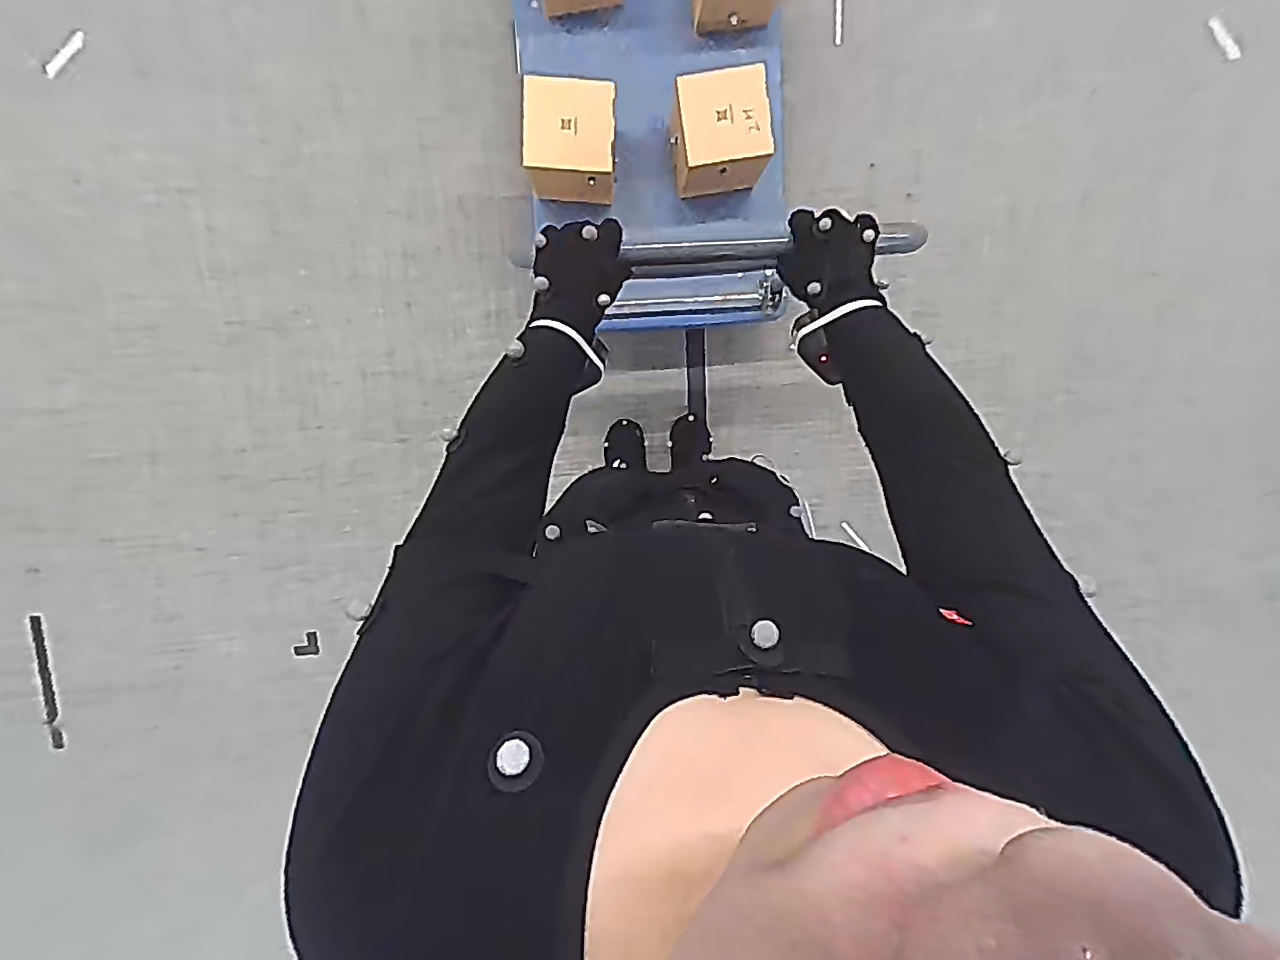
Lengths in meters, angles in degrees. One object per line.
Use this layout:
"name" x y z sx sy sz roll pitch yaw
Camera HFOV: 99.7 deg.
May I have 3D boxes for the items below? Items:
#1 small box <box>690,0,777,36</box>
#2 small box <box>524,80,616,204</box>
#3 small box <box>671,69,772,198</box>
"small box" 0.190 -1.052 1.092 0.168 0.176 0.179 -8 100 -1
"small box" -0.142 -0.694 1.130 0.179 0.176 0.168 1 98 -4
"small box" 0.163 -0.718 1.139 0.179 0.176 0.168 -9 99 -1
